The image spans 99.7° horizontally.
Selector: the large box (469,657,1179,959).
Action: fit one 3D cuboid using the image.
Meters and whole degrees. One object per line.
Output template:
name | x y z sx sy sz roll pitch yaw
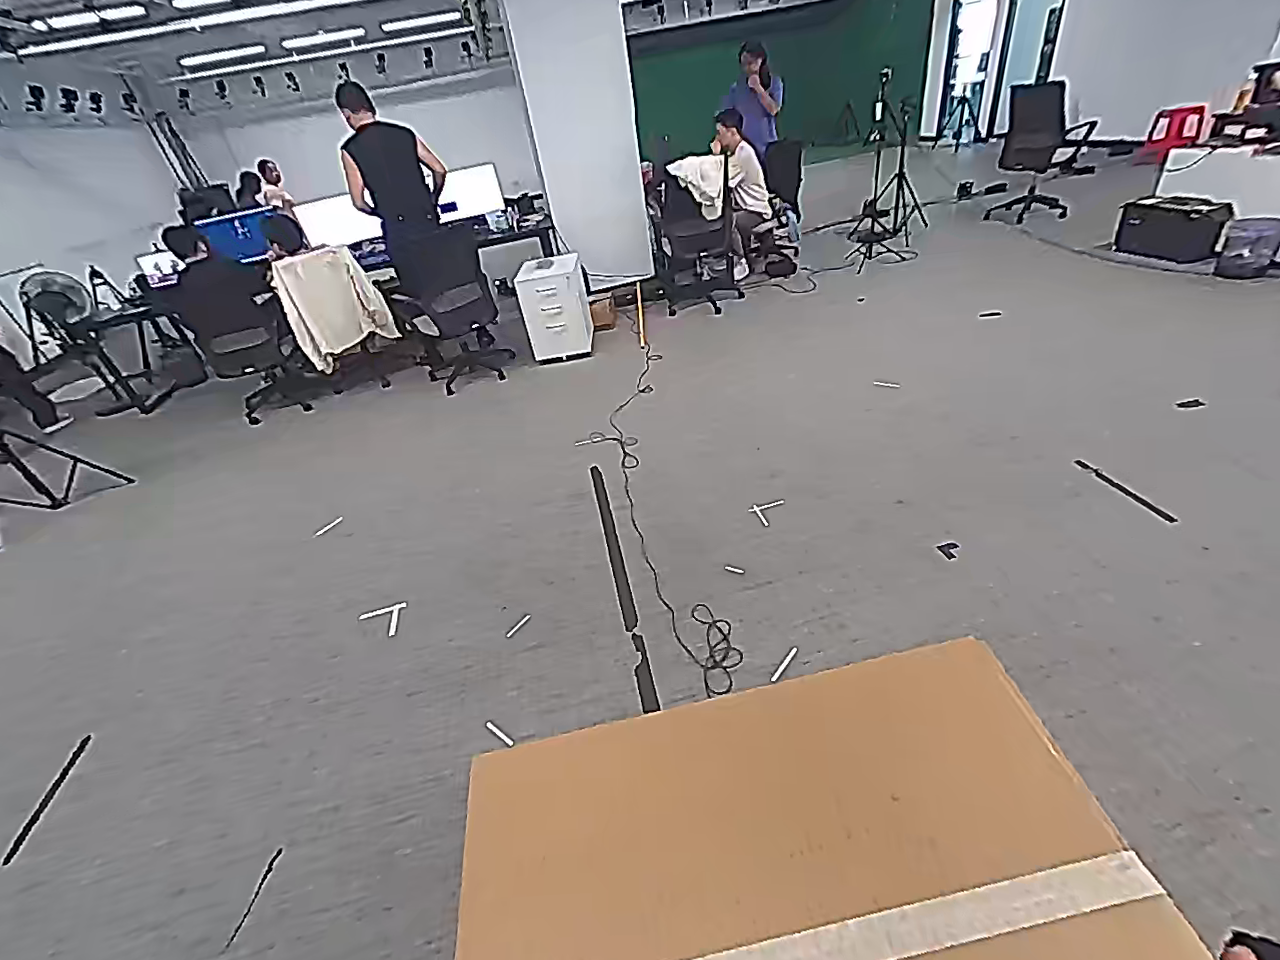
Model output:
large box | 0.120 0.391 0.408 0.408 0.320 0.320 -15 41 0
